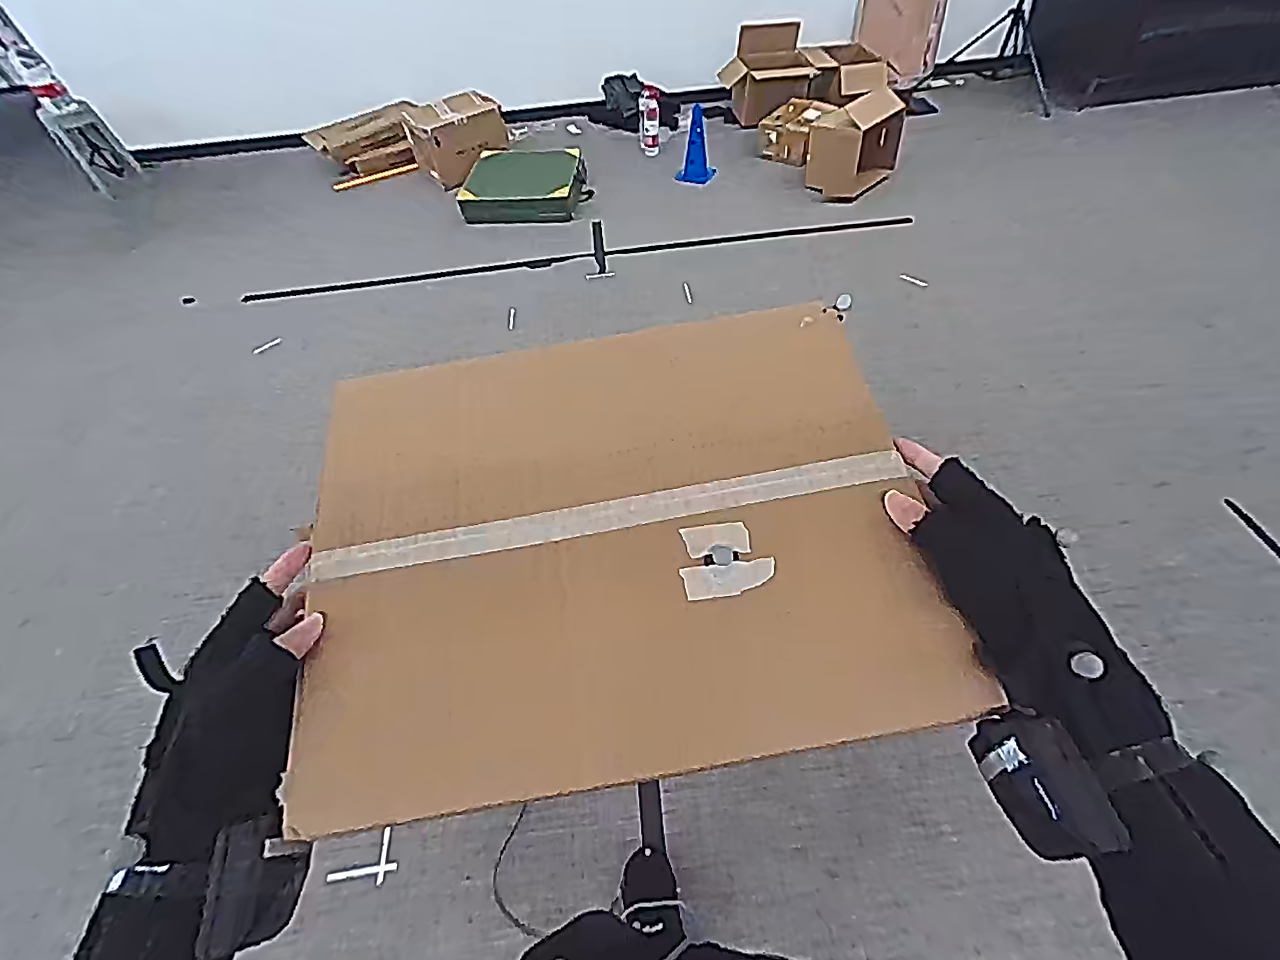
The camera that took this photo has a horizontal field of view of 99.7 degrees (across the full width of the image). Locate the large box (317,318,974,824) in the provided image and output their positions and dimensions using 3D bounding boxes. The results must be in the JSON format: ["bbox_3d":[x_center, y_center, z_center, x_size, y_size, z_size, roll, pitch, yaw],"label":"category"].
[{"bbox_3d":[-0.011,0.096,0.516,0.408,0.320,0.320,-9,64,-2],"label":"large box"}]
